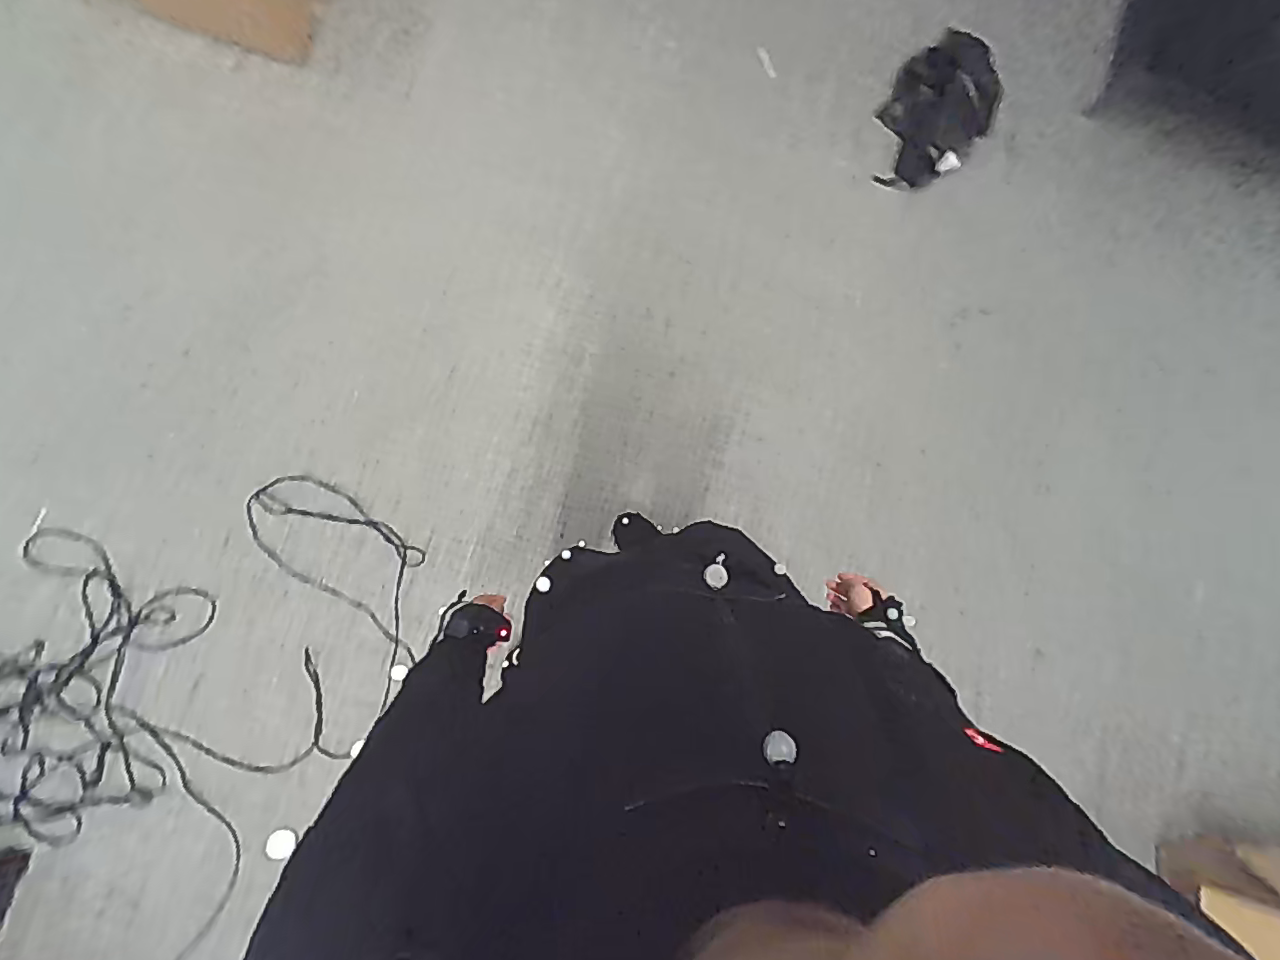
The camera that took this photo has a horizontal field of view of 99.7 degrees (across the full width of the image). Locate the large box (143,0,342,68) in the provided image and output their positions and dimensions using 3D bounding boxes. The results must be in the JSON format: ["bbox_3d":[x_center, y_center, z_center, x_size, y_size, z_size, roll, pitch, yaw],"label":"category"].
[{"bbox_3d":[-0.968,-1.263,1.241,0.408,0.320,0.320,17,84,-6],"label":"large box"}]
